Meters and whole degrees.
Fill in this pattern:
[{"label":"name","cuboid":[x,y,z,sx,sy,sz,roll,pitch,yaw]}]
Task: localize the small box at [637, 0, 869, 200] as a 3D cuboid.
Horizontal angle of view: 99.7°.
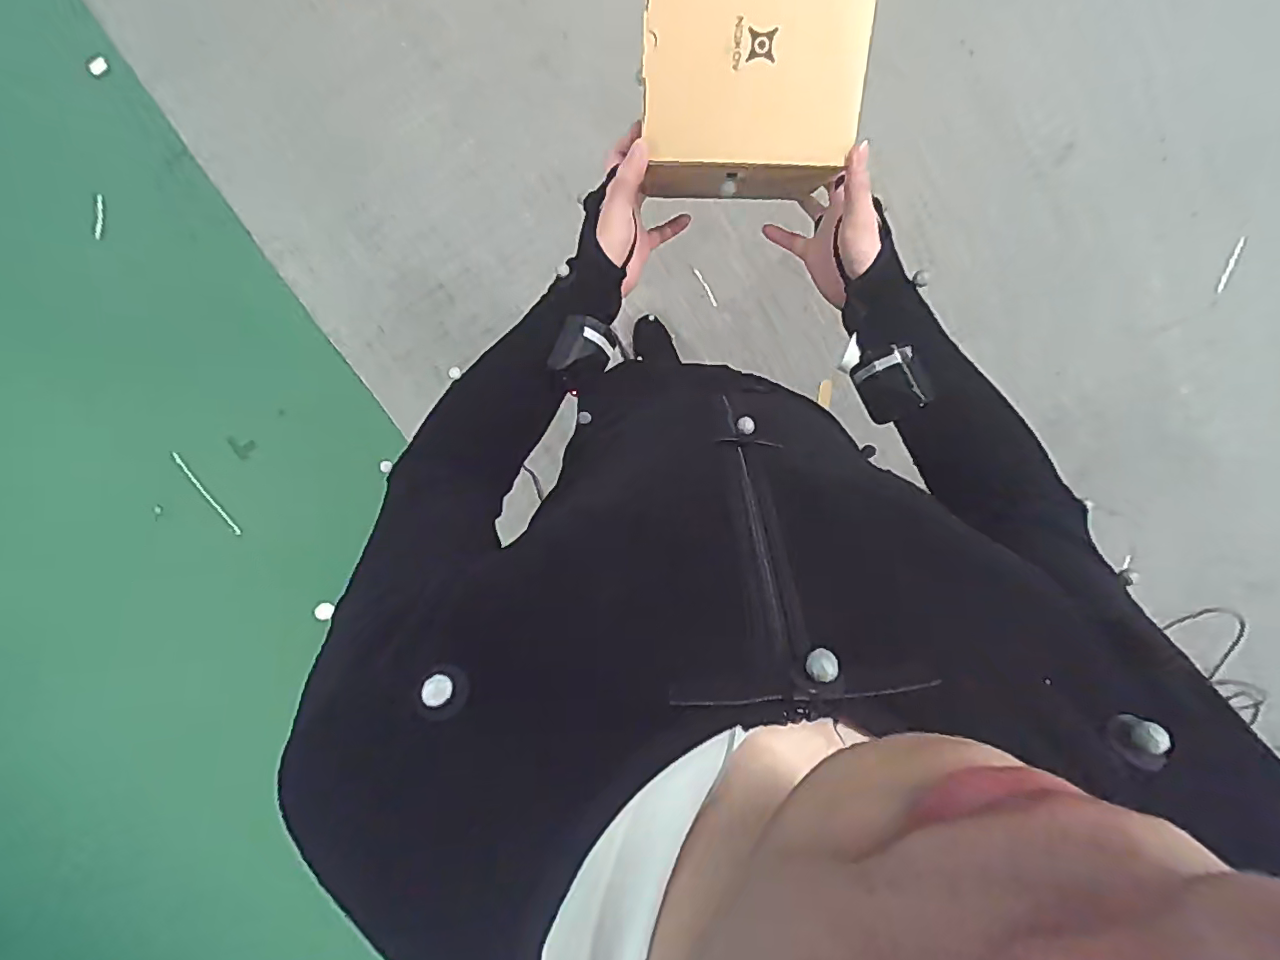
[{"label":"small box","cuboid":[0.090,-0.363,0.496,0.179,0.176,0.168,2,109,3]}]
